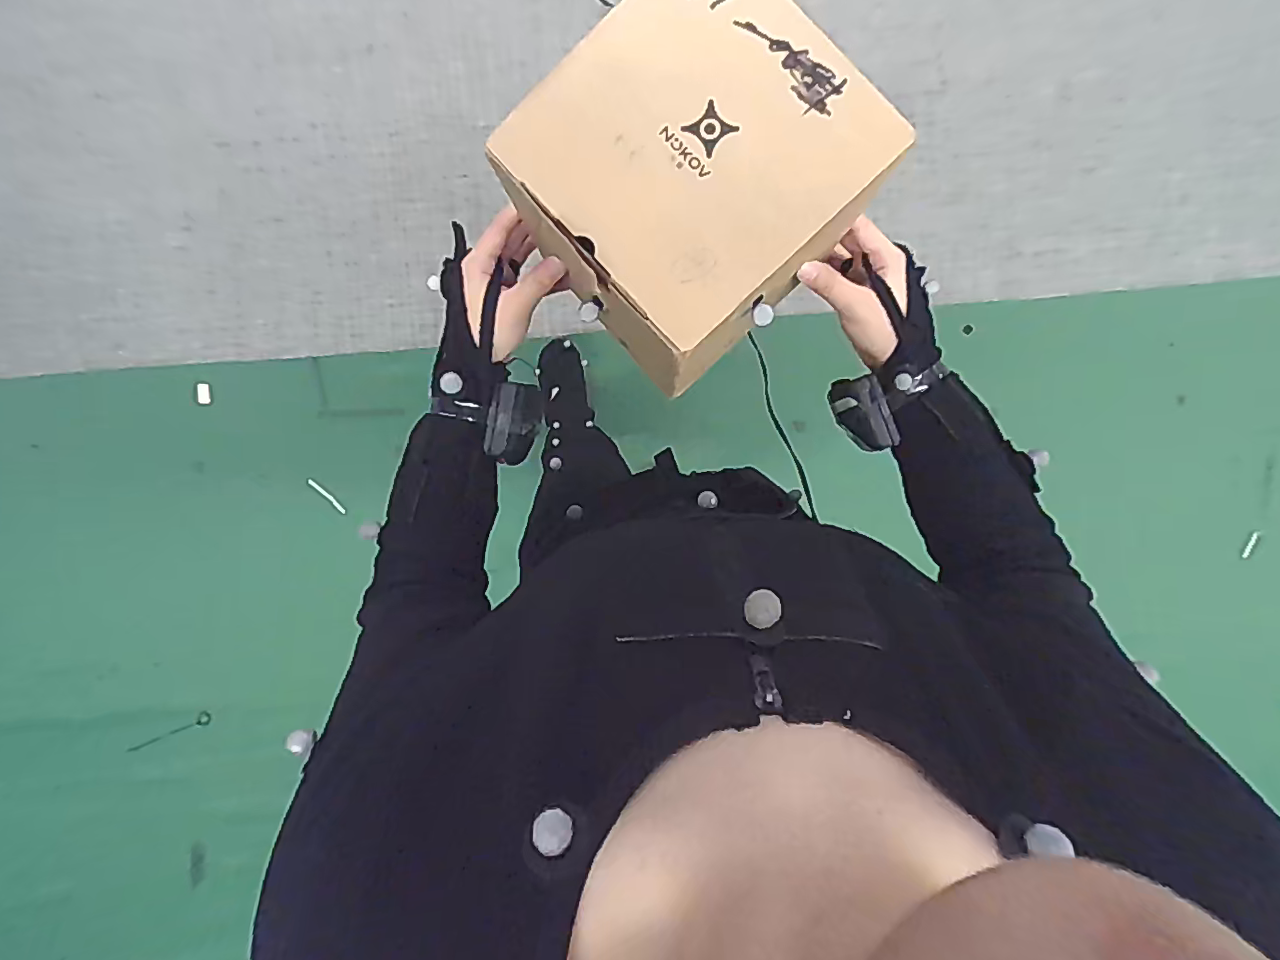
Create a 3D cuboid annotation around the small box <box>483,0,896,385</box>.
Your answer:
[{"bbox_3d":[0.030,-0.189,0.381,0.179,0.176,0.168,-43,89,3],"label":"small box"}]
